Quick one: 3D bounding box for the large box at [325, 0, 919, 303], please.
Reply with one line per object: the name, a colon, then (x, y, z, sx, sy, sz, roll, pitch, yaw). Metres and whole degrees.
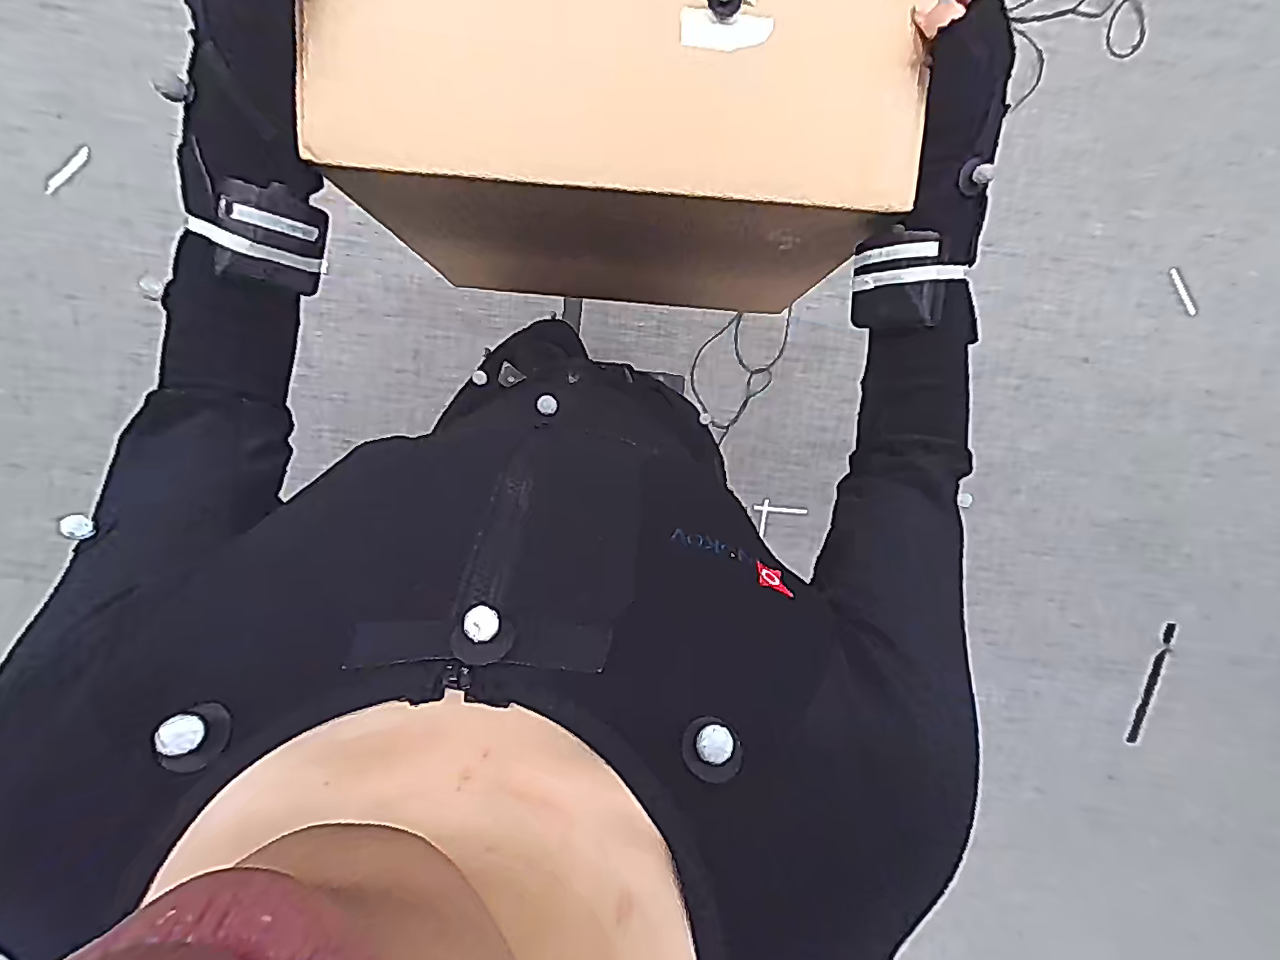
large box: (-0.012, -0.369, 0.508, 0.408, 0.320, 0.320, 4, 95, -2)

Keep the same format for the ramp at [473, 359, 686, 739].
ramp: (-0.165, 0.187, 1.475, 0.509, 0.206, 0.991, 5, 100, 0)
